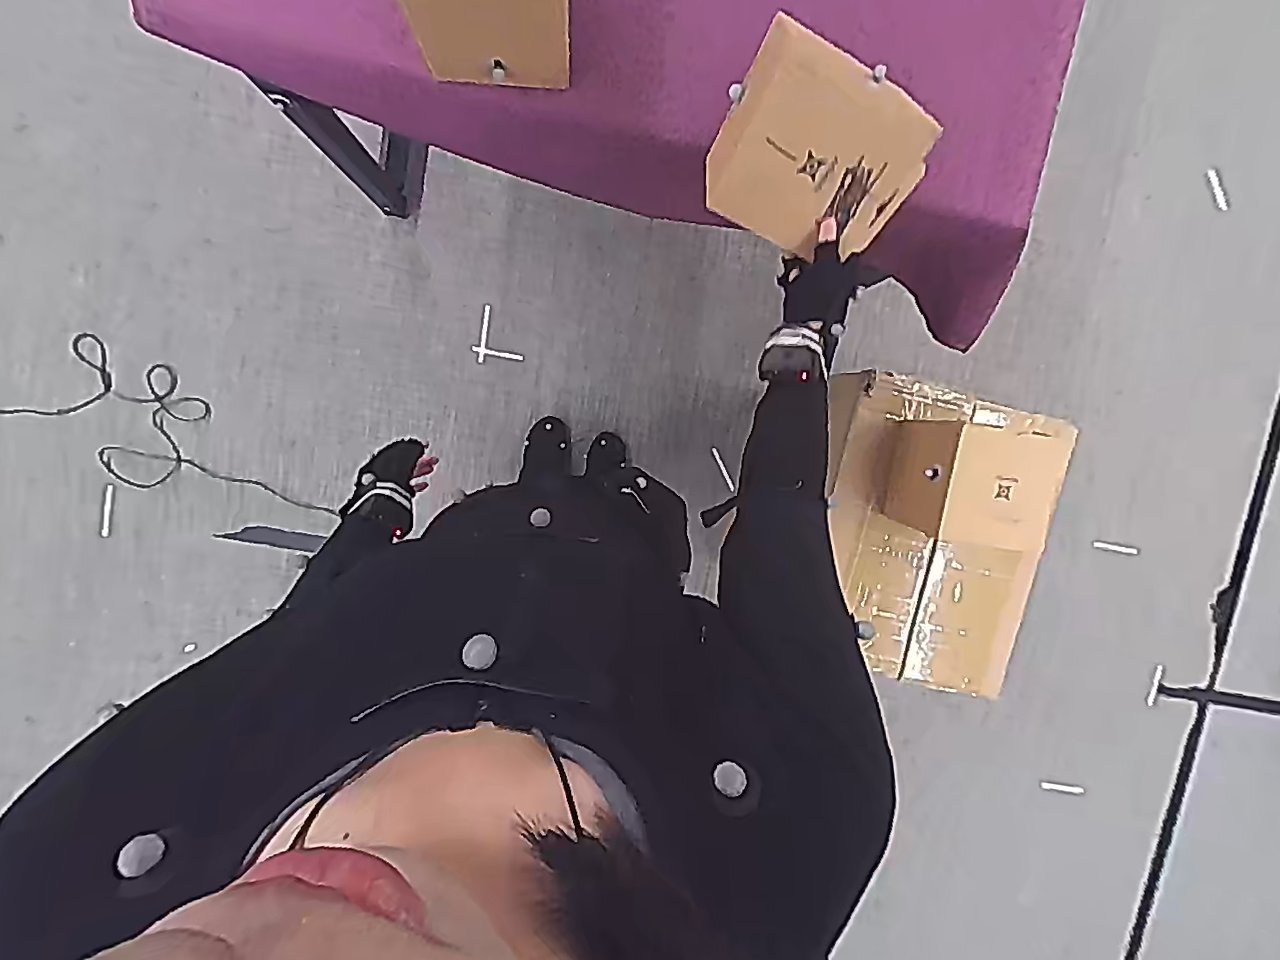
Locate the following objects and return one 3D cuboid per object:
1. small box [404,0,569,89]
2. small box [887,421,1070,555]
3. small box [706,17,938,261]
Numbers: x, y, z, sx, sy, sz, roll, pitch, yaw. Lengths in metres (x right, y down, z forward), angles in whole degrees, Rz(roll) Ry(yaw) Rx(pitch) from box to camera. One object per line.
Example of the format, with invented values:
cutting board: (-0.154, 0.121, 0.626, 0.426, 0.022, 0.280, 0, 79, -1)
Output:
small box: (-0.170, -0.593, 0.628, 0.179, 0.176, 0.168, 0, 95, -6)
small box: (0.519, 0.004, 0.856, 0.168, 0.176, 0.179, 9, 96, -3)
small box: (0.191, -0.390, 0.617, 0.179, 0.176, 0.168, 21, 133, -12)
